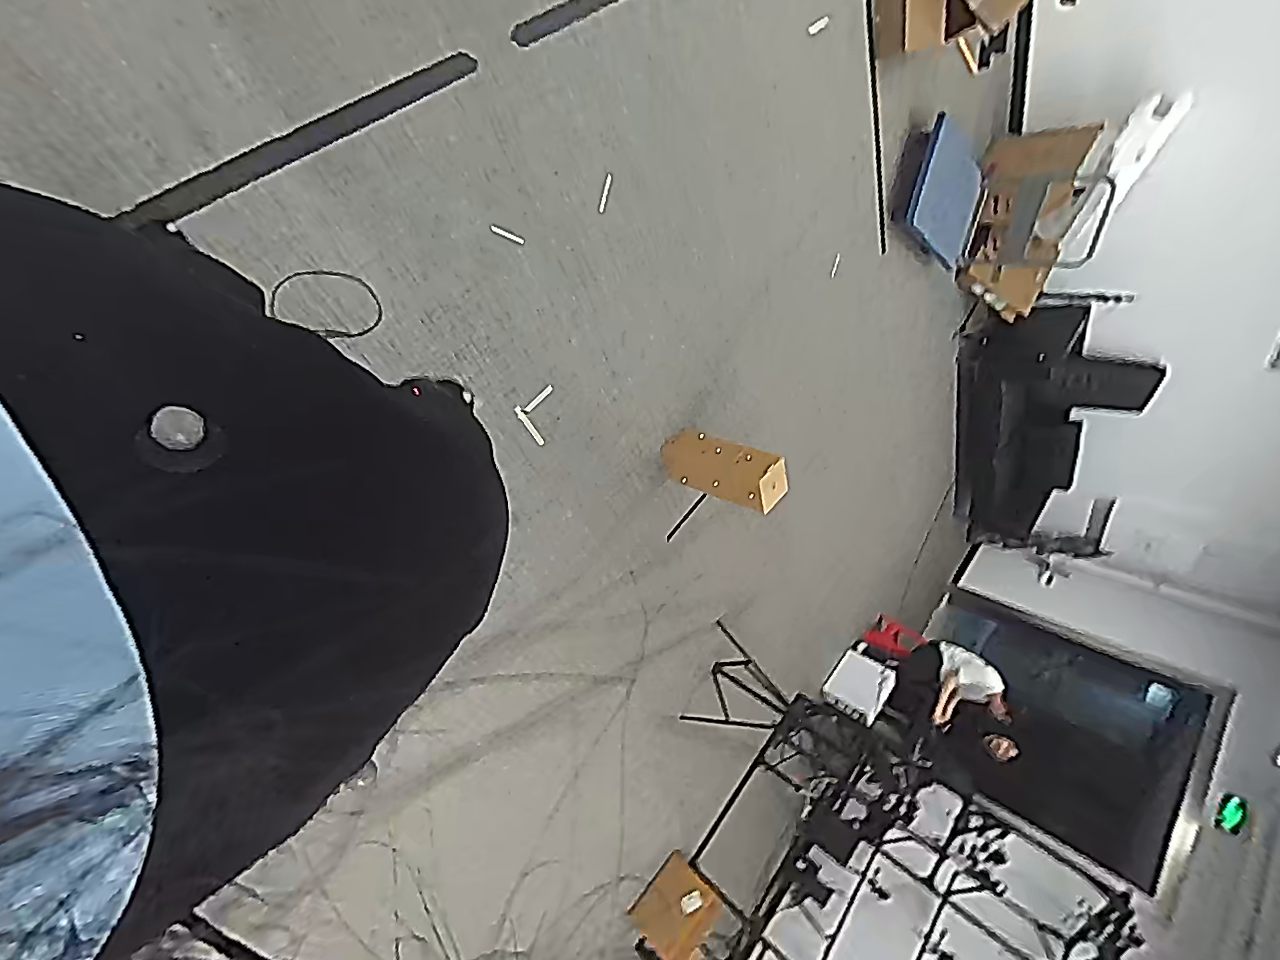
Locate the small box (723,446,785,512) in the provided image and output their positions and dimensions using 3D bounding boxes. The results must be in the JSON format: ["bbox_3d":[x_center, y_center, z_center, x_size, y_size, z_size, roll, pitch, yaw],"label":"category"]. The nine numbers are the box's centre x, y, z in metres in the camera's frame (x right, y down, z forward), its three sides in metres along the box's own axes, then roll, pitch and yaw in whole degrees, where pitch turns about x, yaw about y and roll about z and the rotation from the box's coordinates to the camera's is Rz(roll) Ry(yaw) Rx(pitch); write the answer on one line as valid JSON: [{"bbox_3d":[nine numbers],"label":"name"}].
[{"bbox_3d":[0.446,-0.008,2.115,0.168,0.176,0.179,-42,132,-27],"label":"small box"}]

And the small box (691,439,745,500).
[{"bbox_3d":[0.329,-0.052,2.219,0.168,0.176,0.179,-41,132,-27],"label":"small box"}]
